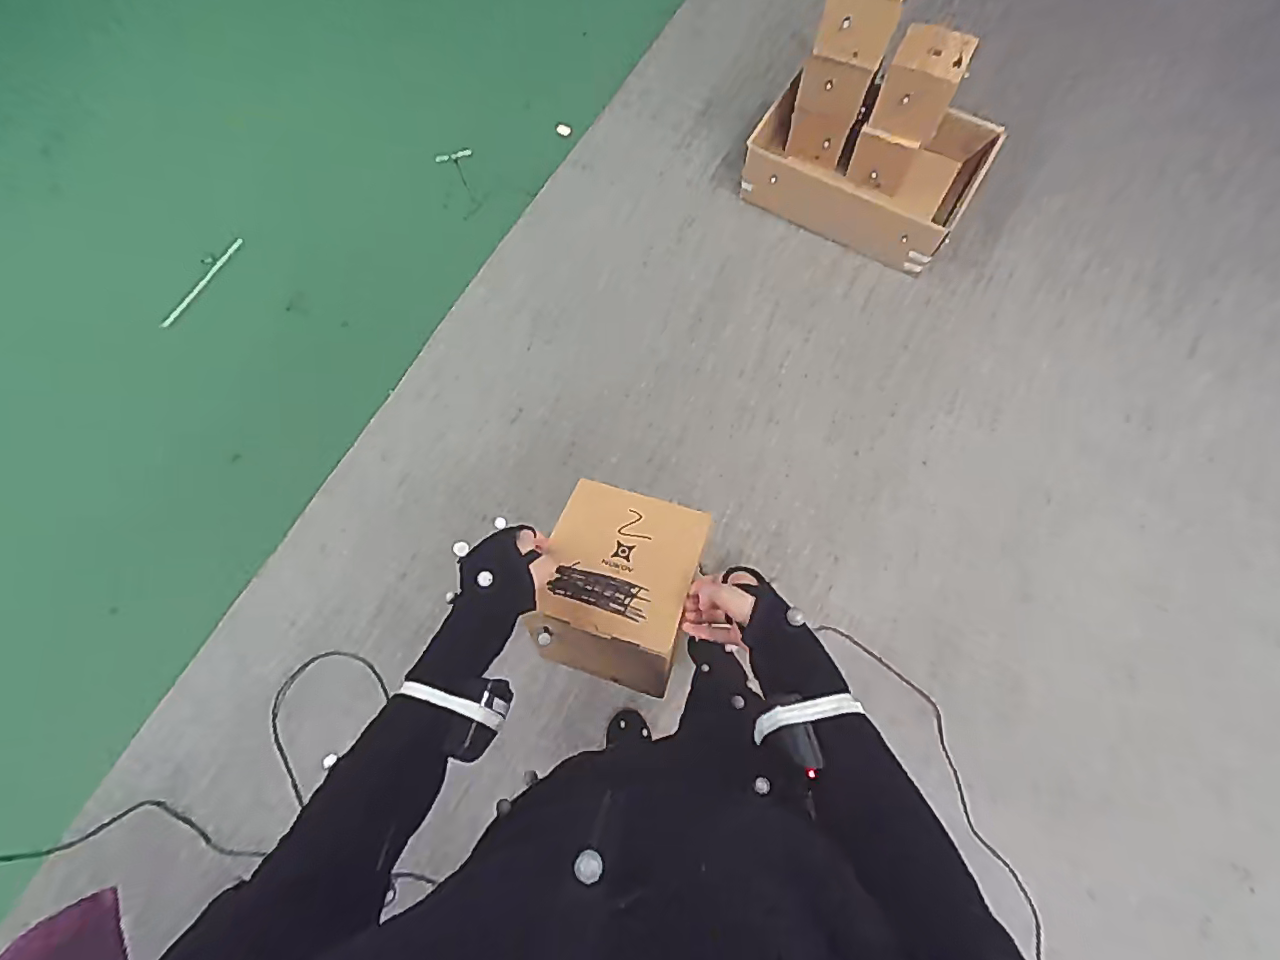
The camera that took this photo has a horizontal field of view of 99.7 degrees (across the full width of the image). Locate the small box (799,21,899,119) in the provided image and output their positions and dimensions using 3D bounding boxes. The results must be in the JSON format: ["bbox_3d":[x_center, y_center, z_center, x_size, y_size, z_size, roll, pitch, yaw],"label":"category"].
[{"bbox_3d":[0.548,-1.109,1.440,0.179,0.176,0.168,26,79,11],"label":"small box"}]

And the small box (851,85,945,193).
[{"bbox_3d":[0.735,-0.979,1.560,0.168,0.176,0.179,30,79,14],"label":"small box"}]

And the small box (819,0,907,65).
[{"bbox_3d":[0.540,-1.136,1.280,0.168,0.176,0.179,22,78,9],"label":"small box"}]
